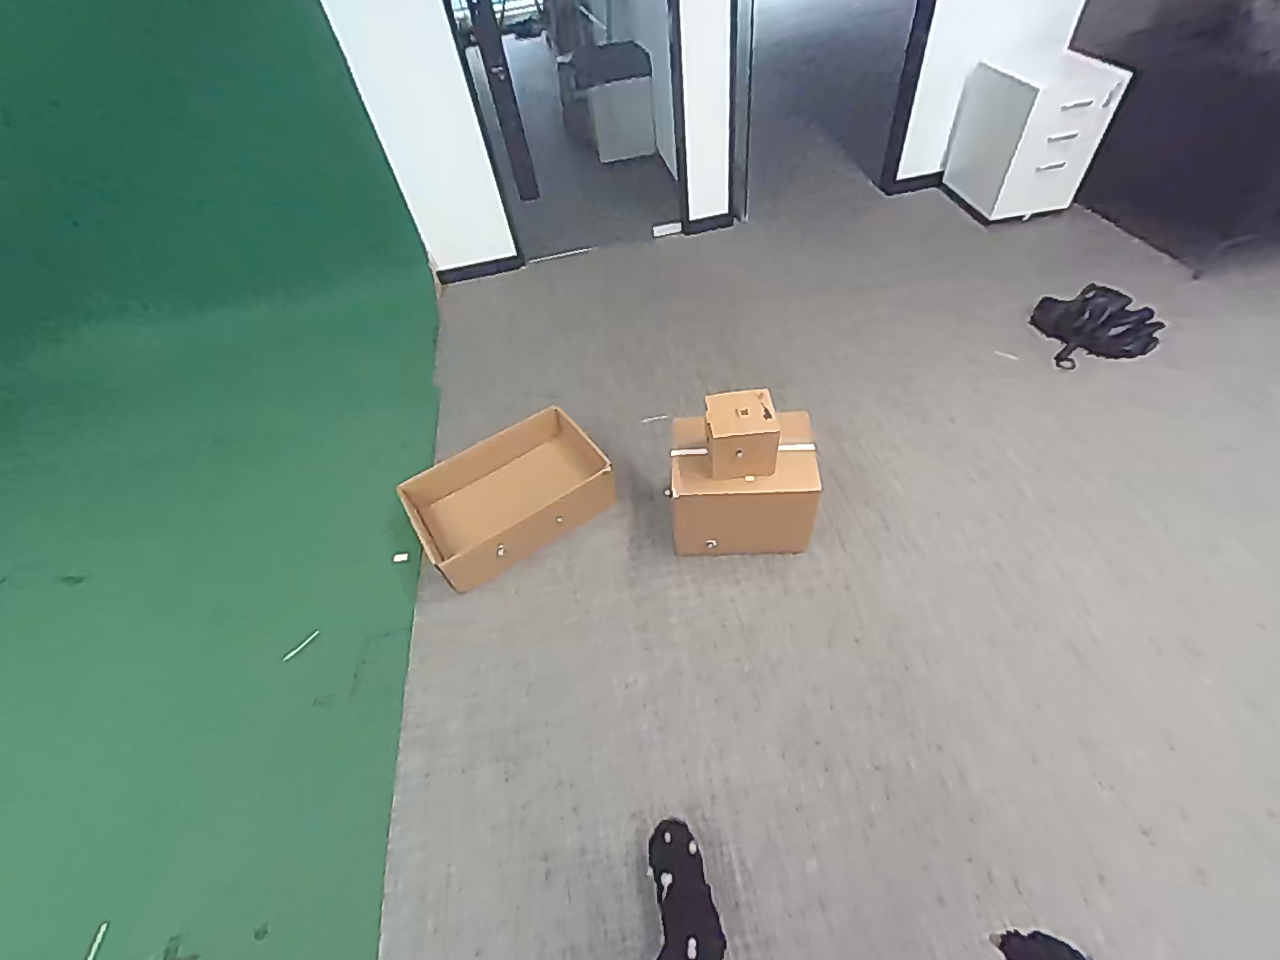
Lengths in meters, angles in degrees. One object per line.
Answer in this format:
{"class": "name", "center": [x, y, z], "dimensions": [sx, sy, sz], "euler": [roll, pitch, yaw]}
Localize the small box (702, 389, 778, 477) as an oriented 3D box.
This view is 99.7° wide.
{"class": "small box", "center": [0.269, -0.123, 1.468], "dimensions": [0.179, 0.176, 0.168], "euler": [-7, 50, 3]}
